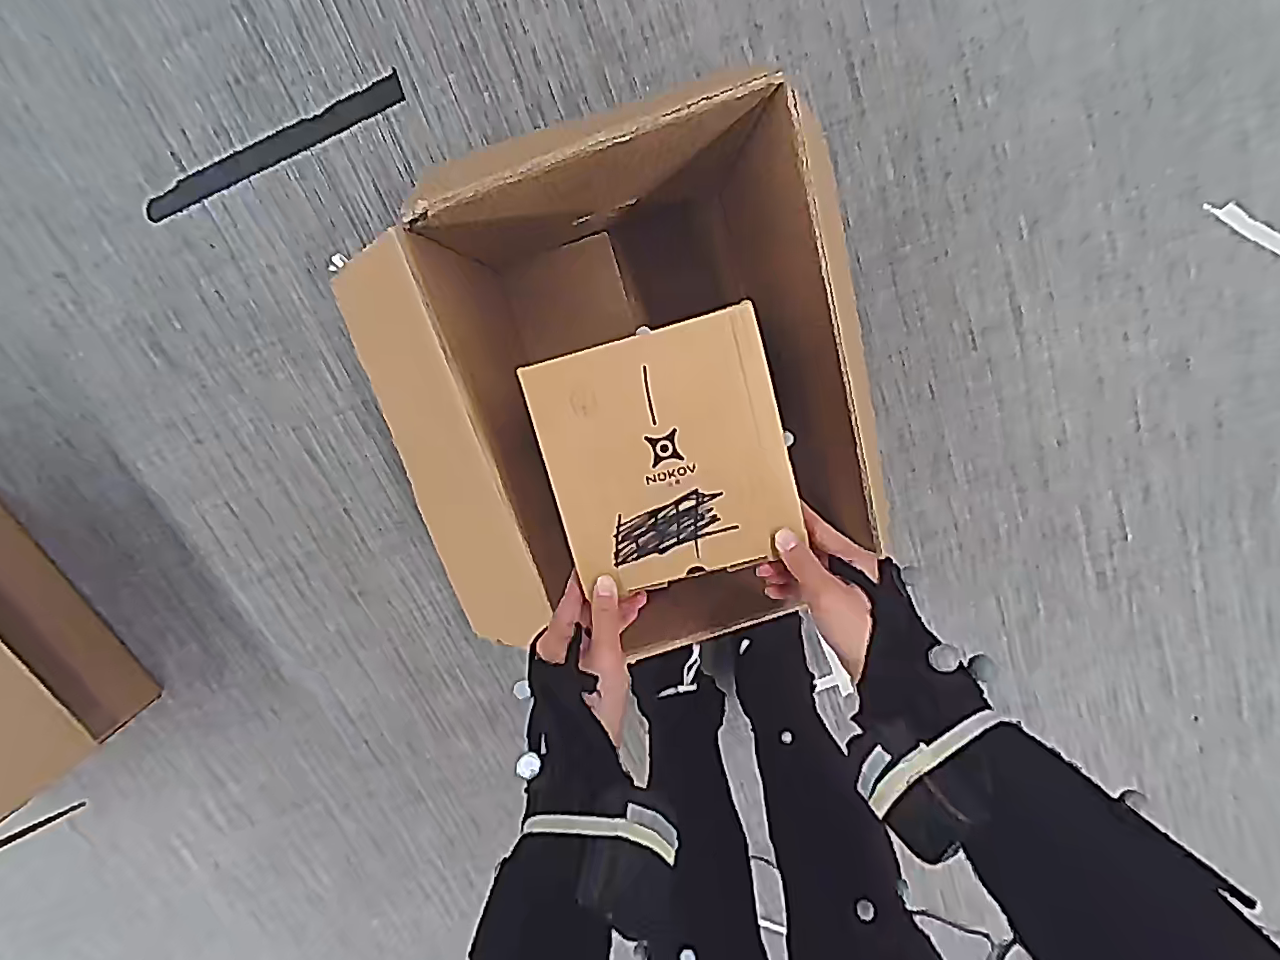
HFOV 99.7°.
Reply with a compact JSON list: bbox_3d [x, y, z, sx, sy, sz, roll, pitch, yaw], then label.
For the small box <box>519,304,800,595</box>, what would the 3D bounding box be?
[{"bbox_3d":[0.020,-0.029,0.456,0.168,0.176,0.179,-15,97,5],"label":"small box"}]
